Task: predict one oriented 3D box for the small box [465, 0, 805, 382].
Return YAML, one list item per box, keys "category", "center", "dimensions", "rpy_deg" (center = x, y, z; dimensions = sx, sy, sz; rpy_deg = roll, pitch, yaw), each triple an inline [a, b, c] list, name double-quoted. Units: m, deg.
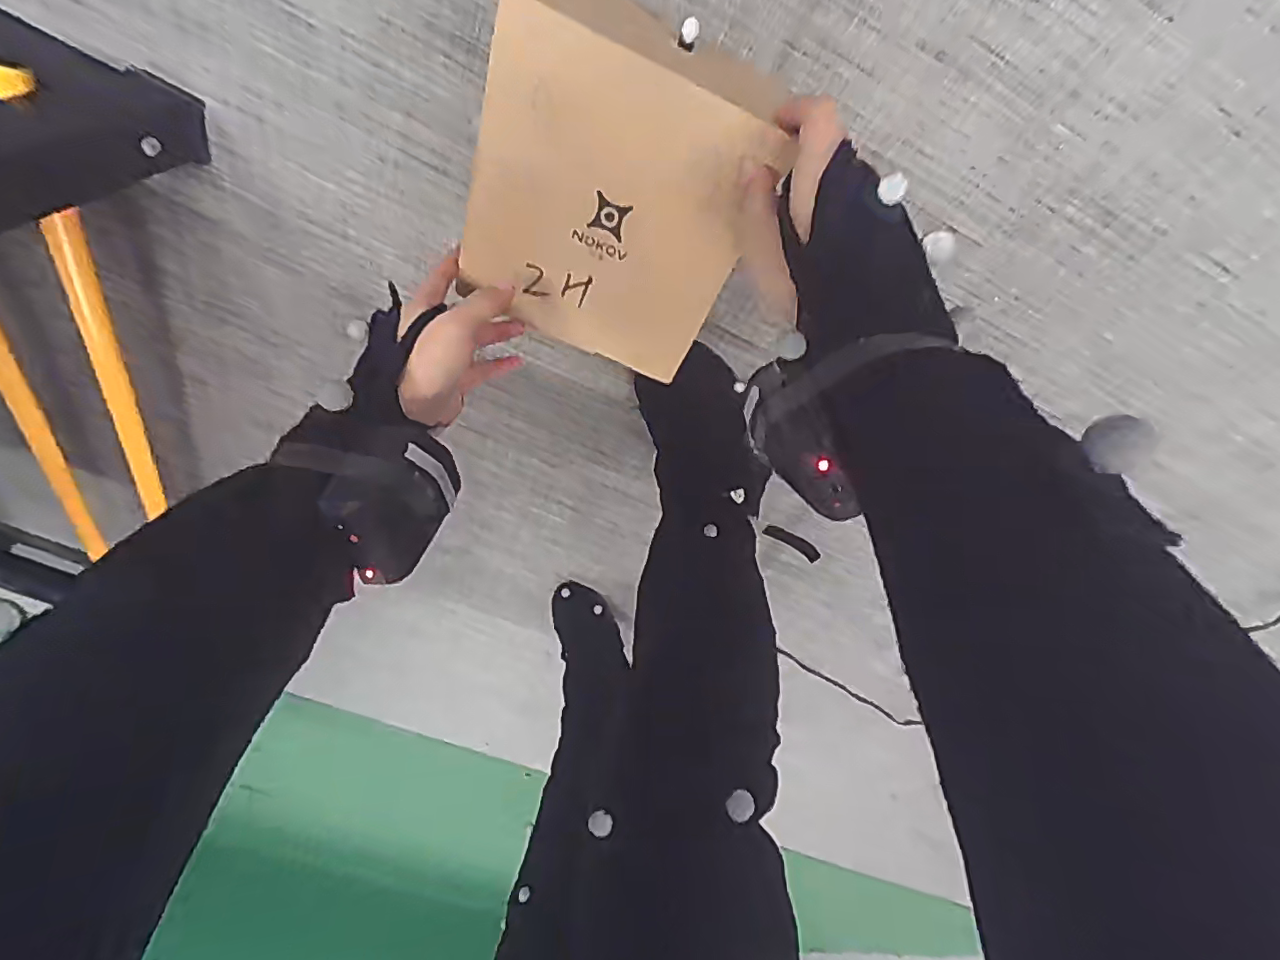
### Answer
- category: "small box"
  center: [-0.006, -0.211, 0.392]
  dimensions: [0.168, 0.176, 0.179]
  rpy_deg: [22, 133, -9]
